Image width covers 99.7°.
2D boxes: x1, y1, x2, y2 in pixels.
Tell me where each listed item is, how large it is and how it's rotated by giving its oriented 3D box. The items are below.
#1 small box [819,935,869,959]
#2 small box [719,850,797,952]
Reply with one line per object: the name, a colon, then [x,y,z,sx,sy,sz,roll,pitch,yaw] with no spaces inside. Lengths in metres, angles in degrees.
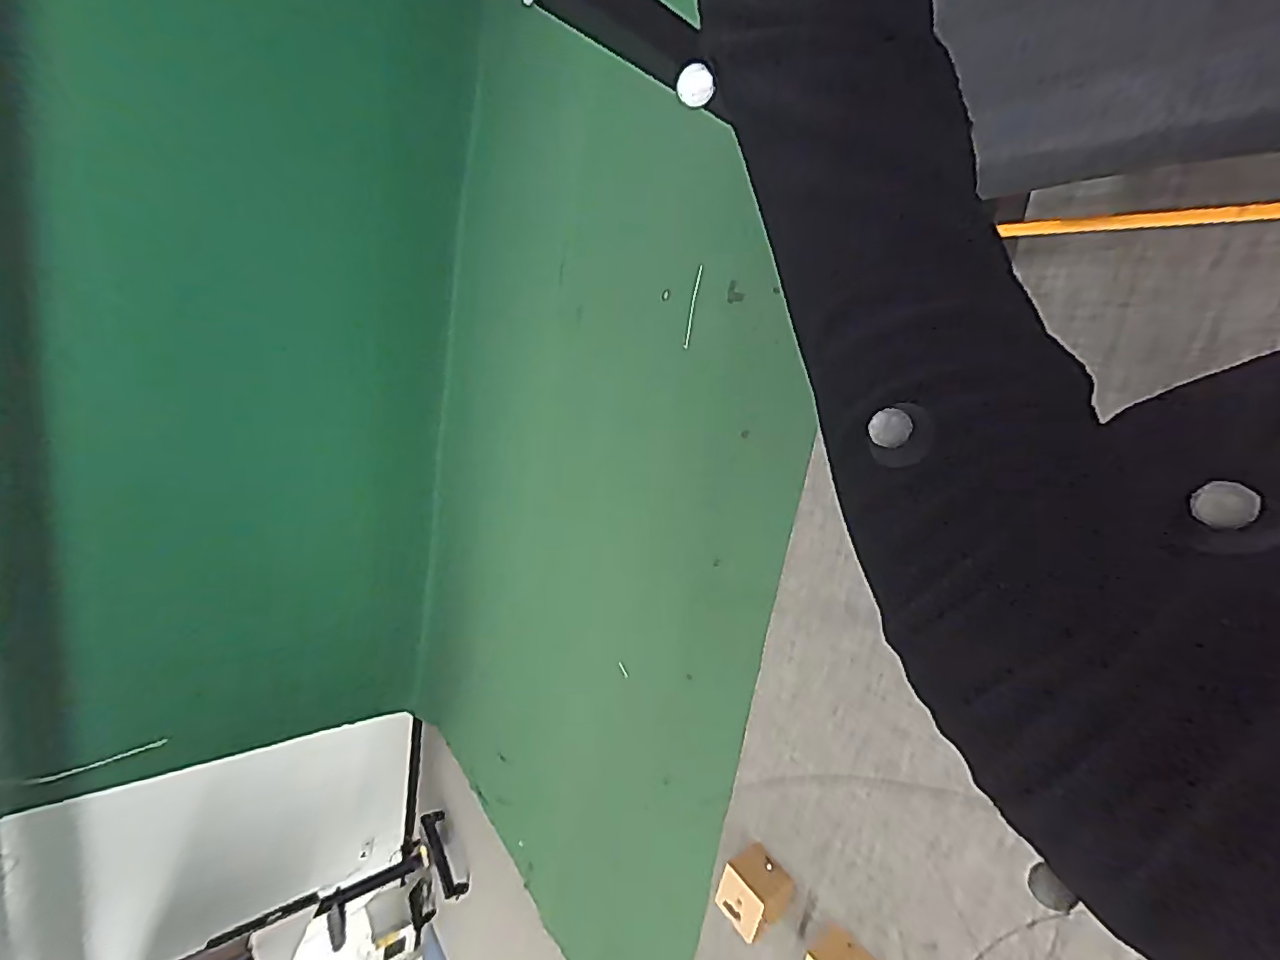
small box: [0.594,1.477,1.550,0.168,0.176,0.179,22,108,48]
small box: [0.394,1.386,1.790,0.168,0.176,0.179,28,110,47]
